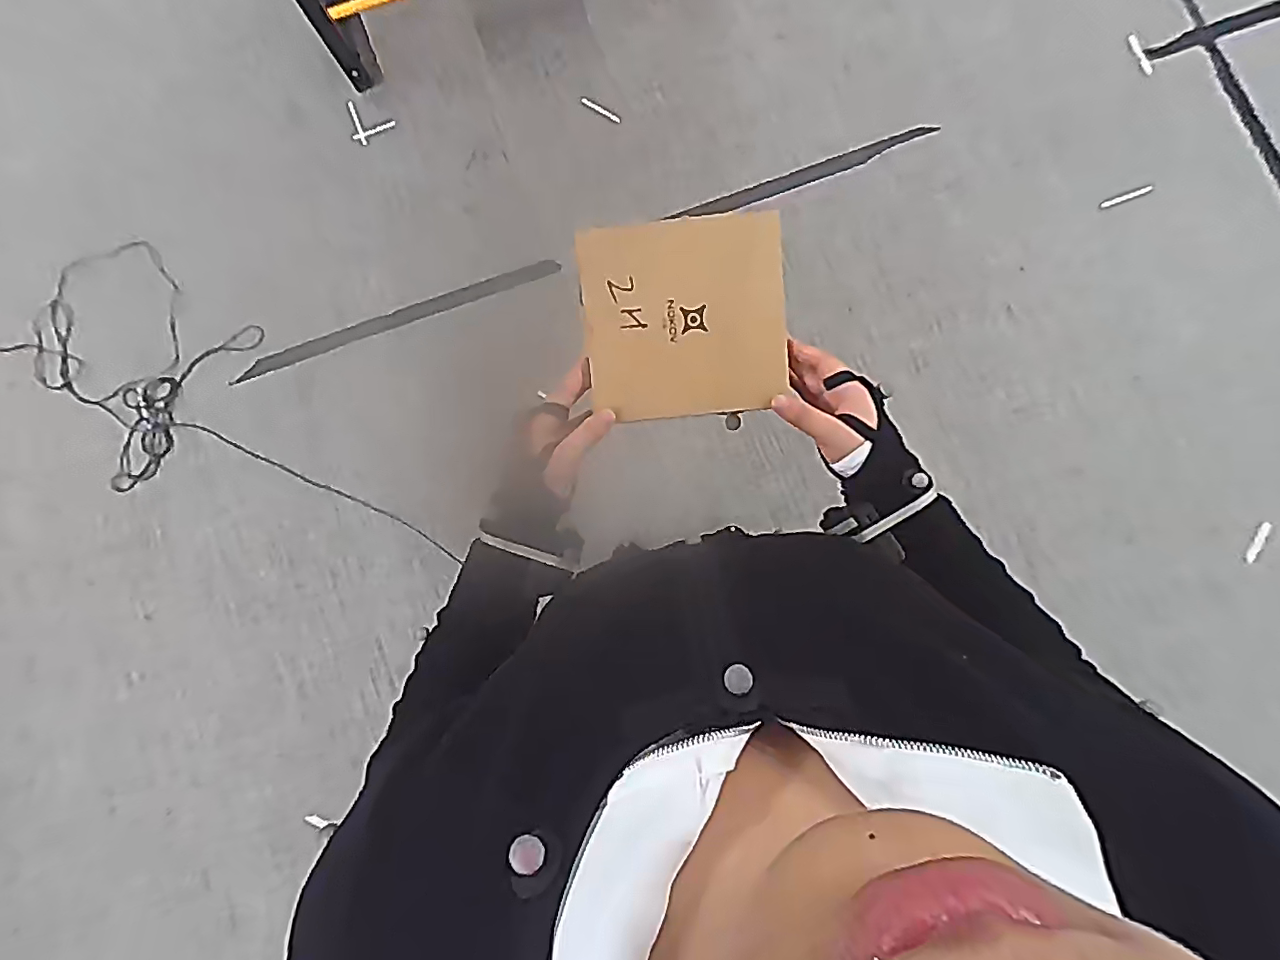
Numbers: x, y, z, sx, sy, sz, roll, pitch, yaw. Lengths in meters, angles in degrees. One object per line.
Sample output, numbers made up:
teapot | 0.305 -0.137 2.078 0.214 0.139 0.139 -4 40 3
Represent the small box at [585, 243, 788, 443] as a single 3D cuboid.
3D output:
small box | 0.044 -0.131 0.561 0.179 0.176 0.168 -5 97 2
